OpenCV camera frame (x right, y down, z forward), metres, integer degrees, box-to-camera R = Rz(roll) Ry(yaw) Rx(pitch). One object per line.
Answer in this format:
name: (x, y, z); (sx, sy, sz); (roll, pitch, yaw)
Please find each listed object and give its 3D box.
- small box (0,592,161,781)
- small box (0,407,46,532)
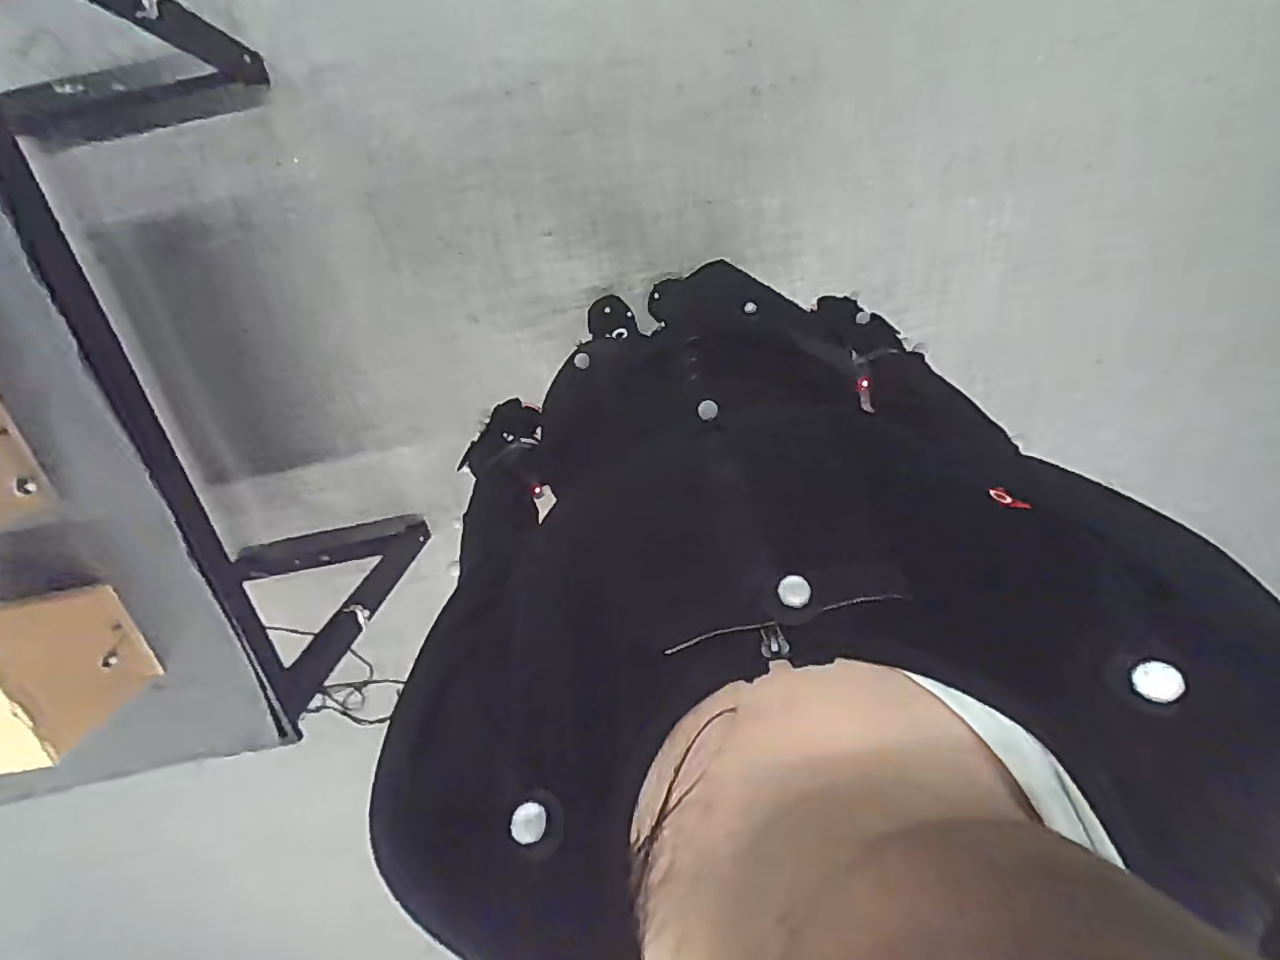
small box: (-0.815, 0.271, 0.720); (0.179, 0.176, 0.168); (-12, 109, 3)
small box: (-0.867, 0.005, 0.624); (0.179, 0.176, 0.168); (-10, 109, 2)
